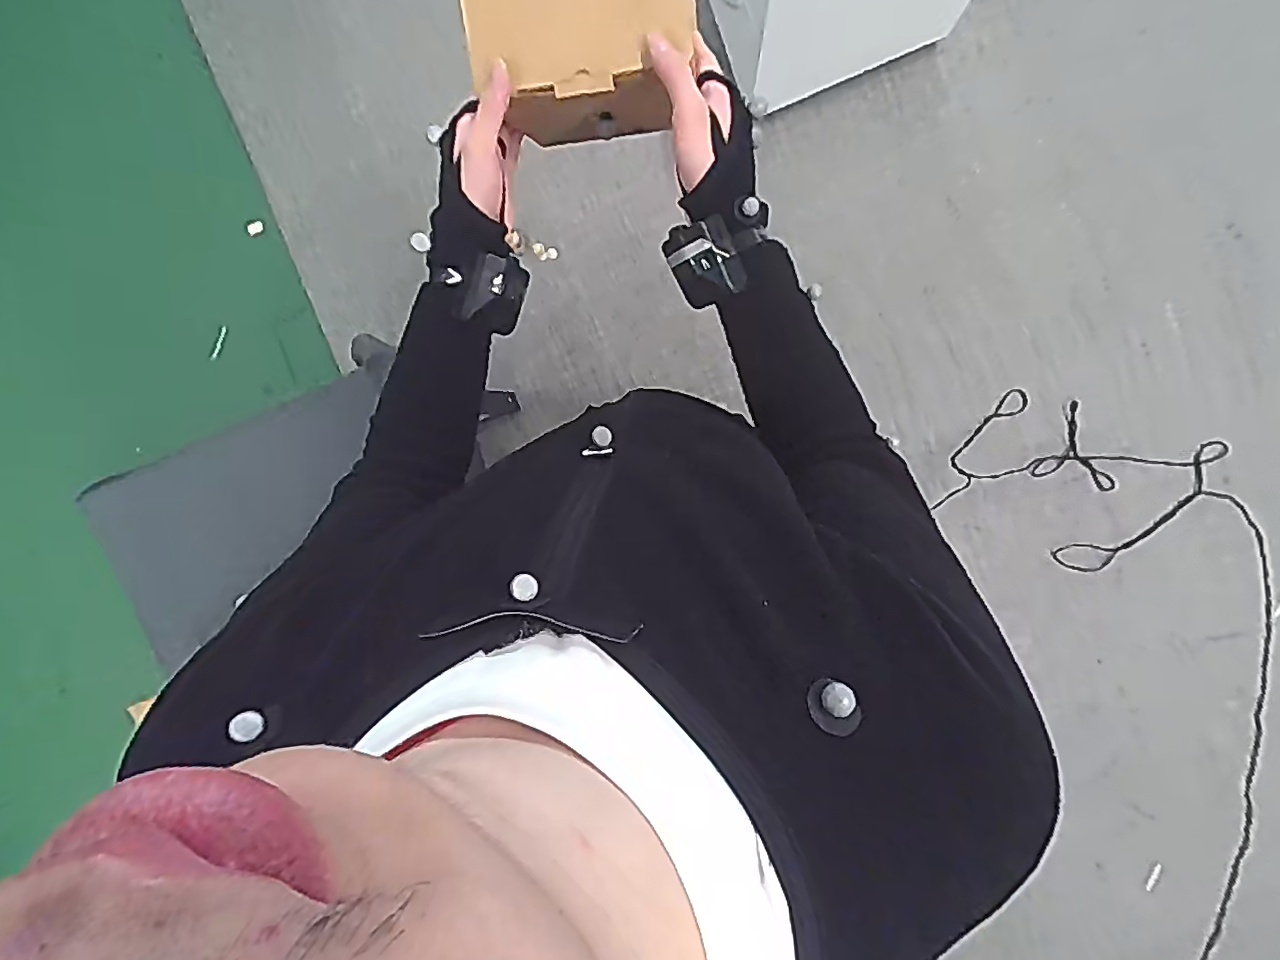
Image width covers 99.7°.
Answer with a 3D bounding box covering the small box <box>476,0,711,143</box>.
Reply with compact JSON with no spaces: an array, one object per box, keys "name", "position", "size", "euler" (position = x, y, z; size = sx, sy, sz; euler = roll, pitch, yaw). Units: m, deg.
[{"name":"small box","position":[-0.031,-0.401,0.448],"size":[0.168,0.176,0.179],"euler":[-4,109,10]}]
